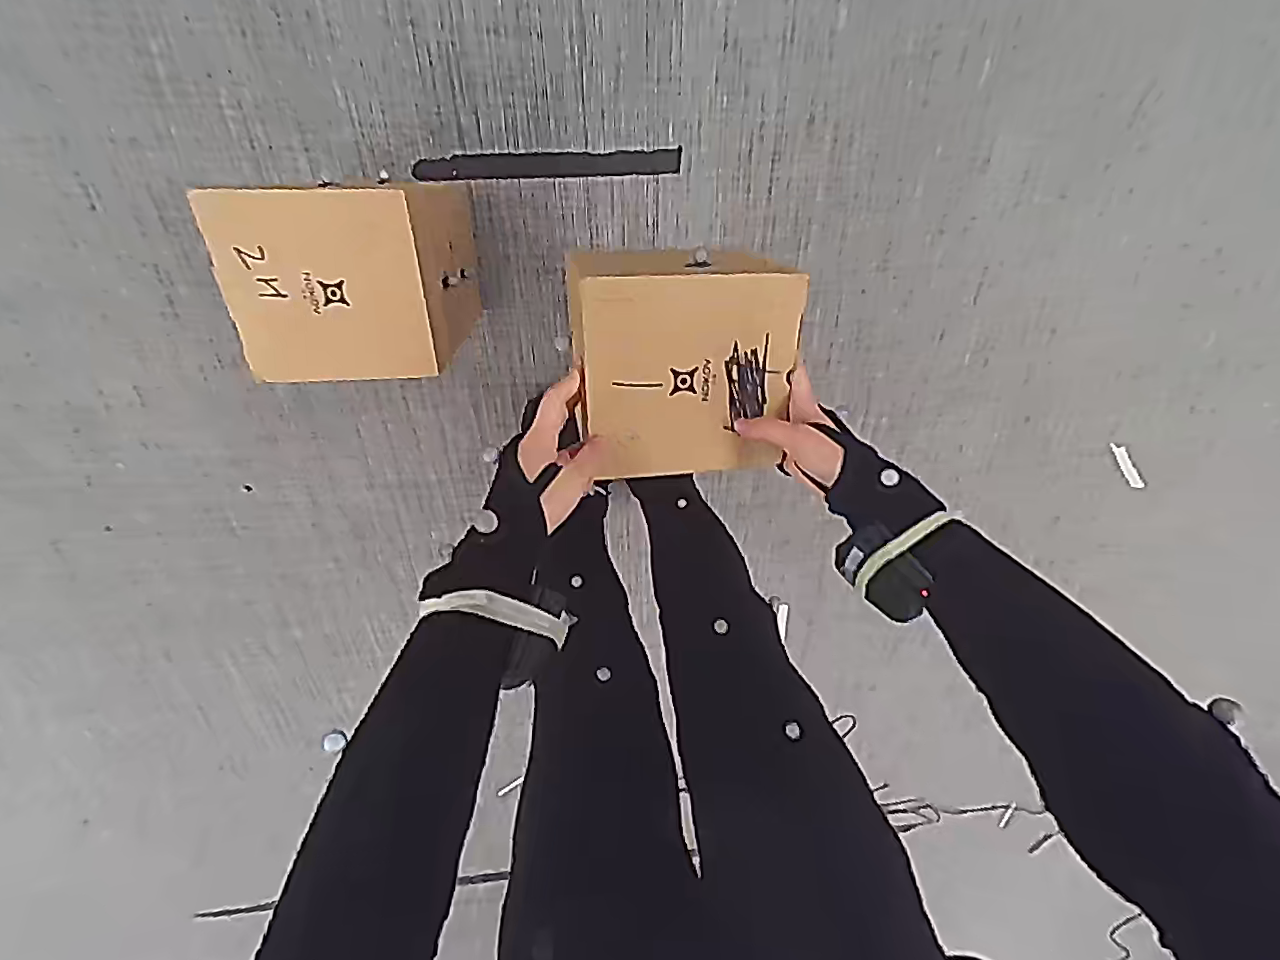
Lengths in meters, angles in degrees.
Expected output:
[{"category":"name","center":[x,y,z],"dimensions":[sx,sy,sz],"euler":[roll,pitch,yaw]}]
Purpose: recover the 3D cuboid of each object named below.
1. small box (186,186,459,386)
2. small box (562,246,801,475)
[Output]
[{"category":"small box","center":[-0.292,-0.204,0.552],"dimensions":[0.179,0.176,0.168],"euler":[-3,119,-6]},{"category":"small box","center":[0.024,-0.121,0.506],"dimensions":[0.179,0.176,0.168],"euler":[-5,120,-8]}]
